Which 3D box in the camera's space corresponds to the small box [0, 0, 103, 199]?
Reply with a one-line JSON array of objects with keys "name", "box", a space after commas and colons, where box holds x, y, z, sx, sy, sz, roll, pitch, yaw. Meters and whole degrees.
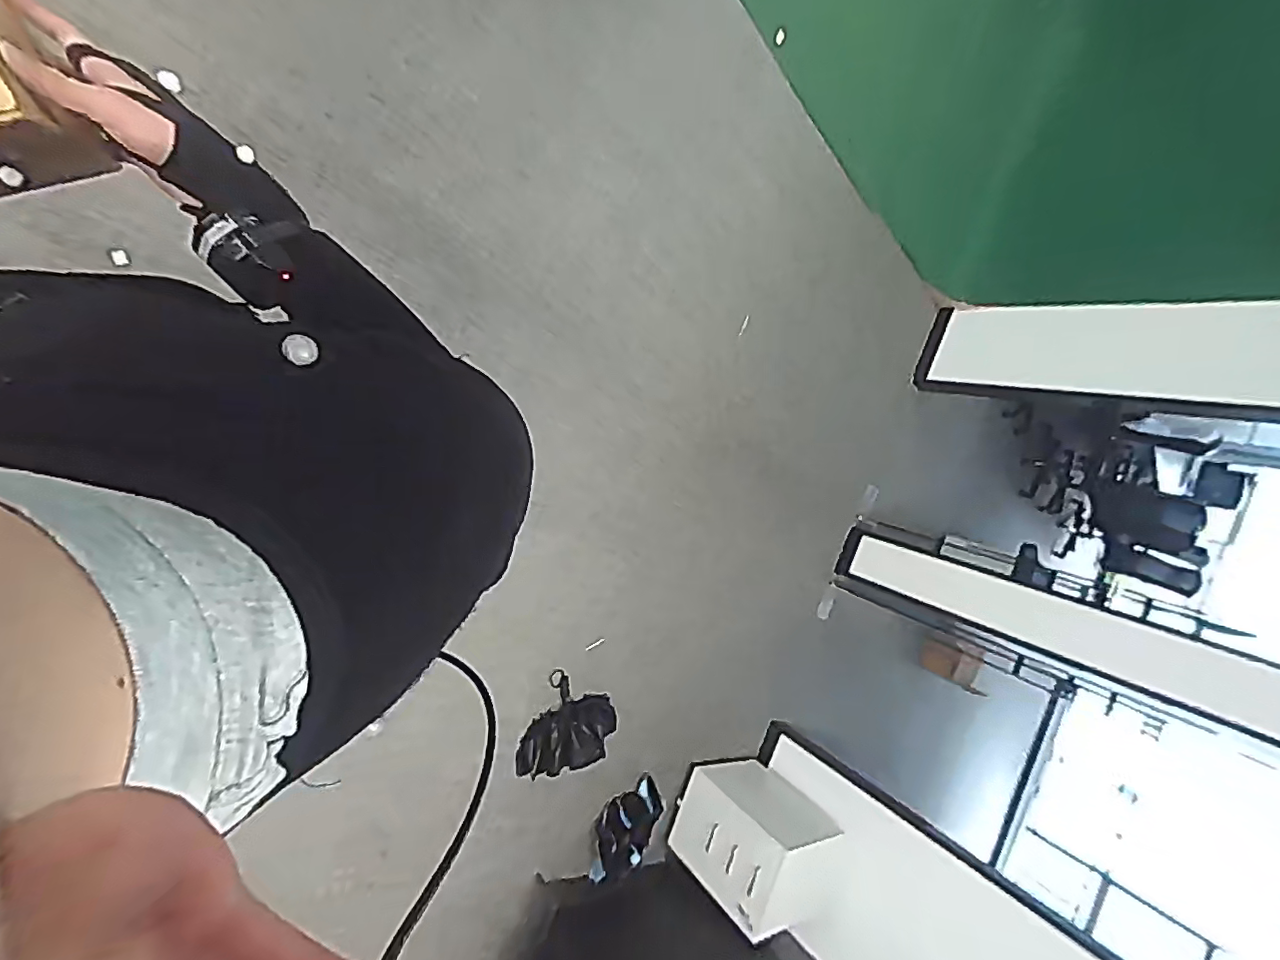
[{"name": "small box", "box": [-0.490, -0.266, 0.320, 0.168, 0.176, 0.179, -27, 116, -19]}]
